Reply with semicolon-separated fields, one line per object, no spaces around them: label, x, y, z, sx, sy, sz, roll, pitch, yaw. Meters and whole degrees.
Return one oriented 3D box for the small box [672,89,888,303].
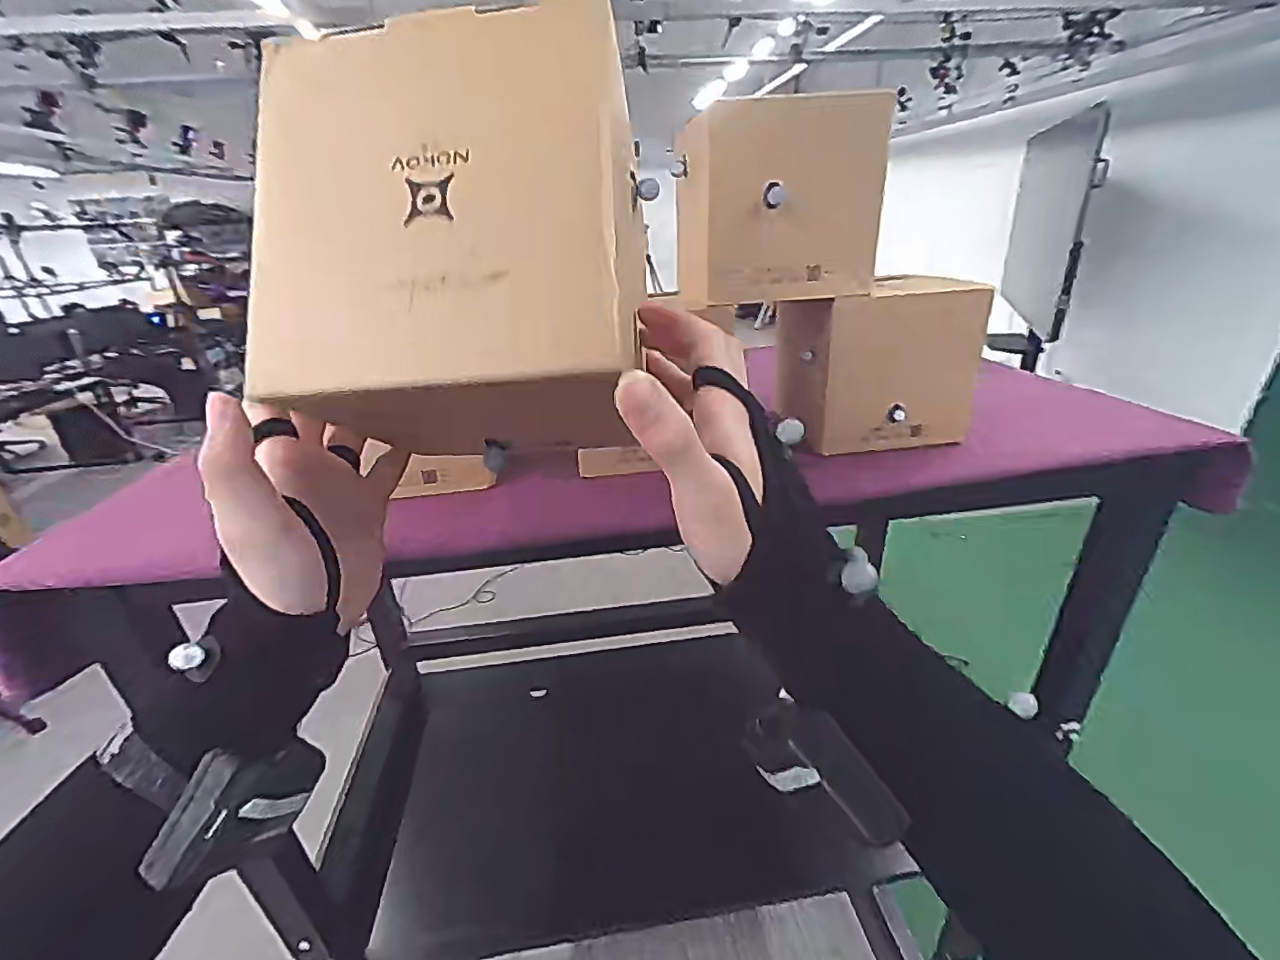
small box;0.129;-0.279;0.561;0.168;0.176;0.179;-5;24;-4

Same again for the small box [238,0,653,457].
small box;-0.083;-0.114;0.311;0.168;0.179;0.176;-2;-6;7

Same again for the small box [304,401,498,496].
small box;-0.249;-0.095;0.591;0.168;0.176;0.179;-6;24;-6
